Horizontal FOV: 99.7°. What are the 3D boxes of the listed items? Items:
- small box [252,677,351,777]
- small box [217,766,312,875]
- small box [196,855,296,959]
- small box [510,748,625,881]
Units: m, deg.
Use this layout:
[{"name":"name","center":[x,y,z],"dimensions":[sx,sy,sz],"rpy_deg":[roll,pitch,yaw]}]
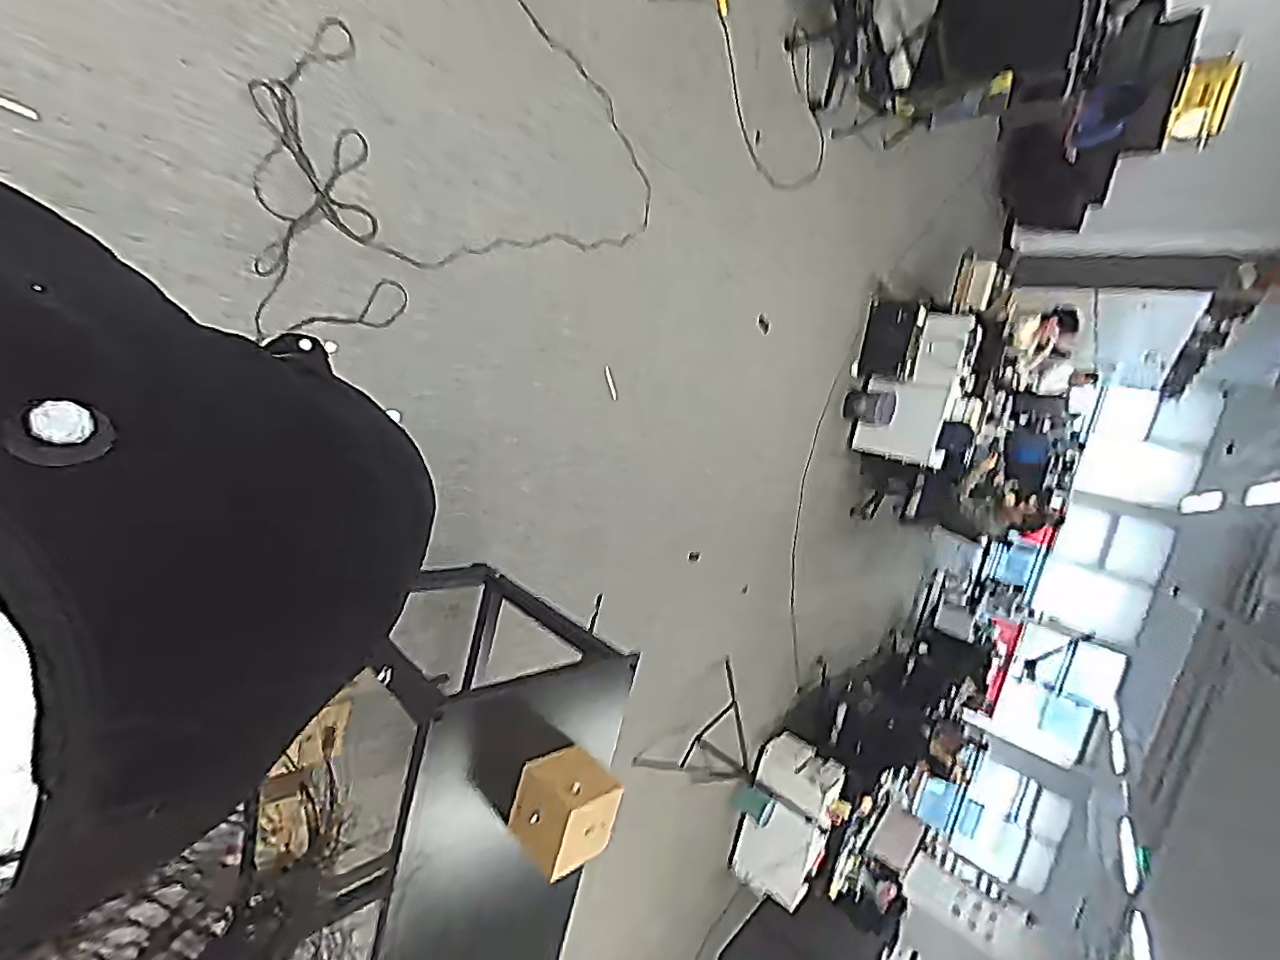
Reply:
[{"name":"small box","center":[-0.927,0.663,1.478],"dimensions":[0.179,0.176,0.168],"rpy_deg":[5,100,-49]},{"name":"small box","center":[-1.022,0.903,1.466],"dimensions":[0.168,0.176,0.179],"rpy_deg":[5,101,-51]},{"name":"small box","center":[-1.086,1.157,1.490],"dimensions":[0.179,0.176,0.168],"rpy_deg":[5,100,-50]},{"name":"small box","center":[-0.169,0.752,1.239],"dimensions":[0.179,0.176,0.168],"rpy_deg":[11,97,-51]}]
